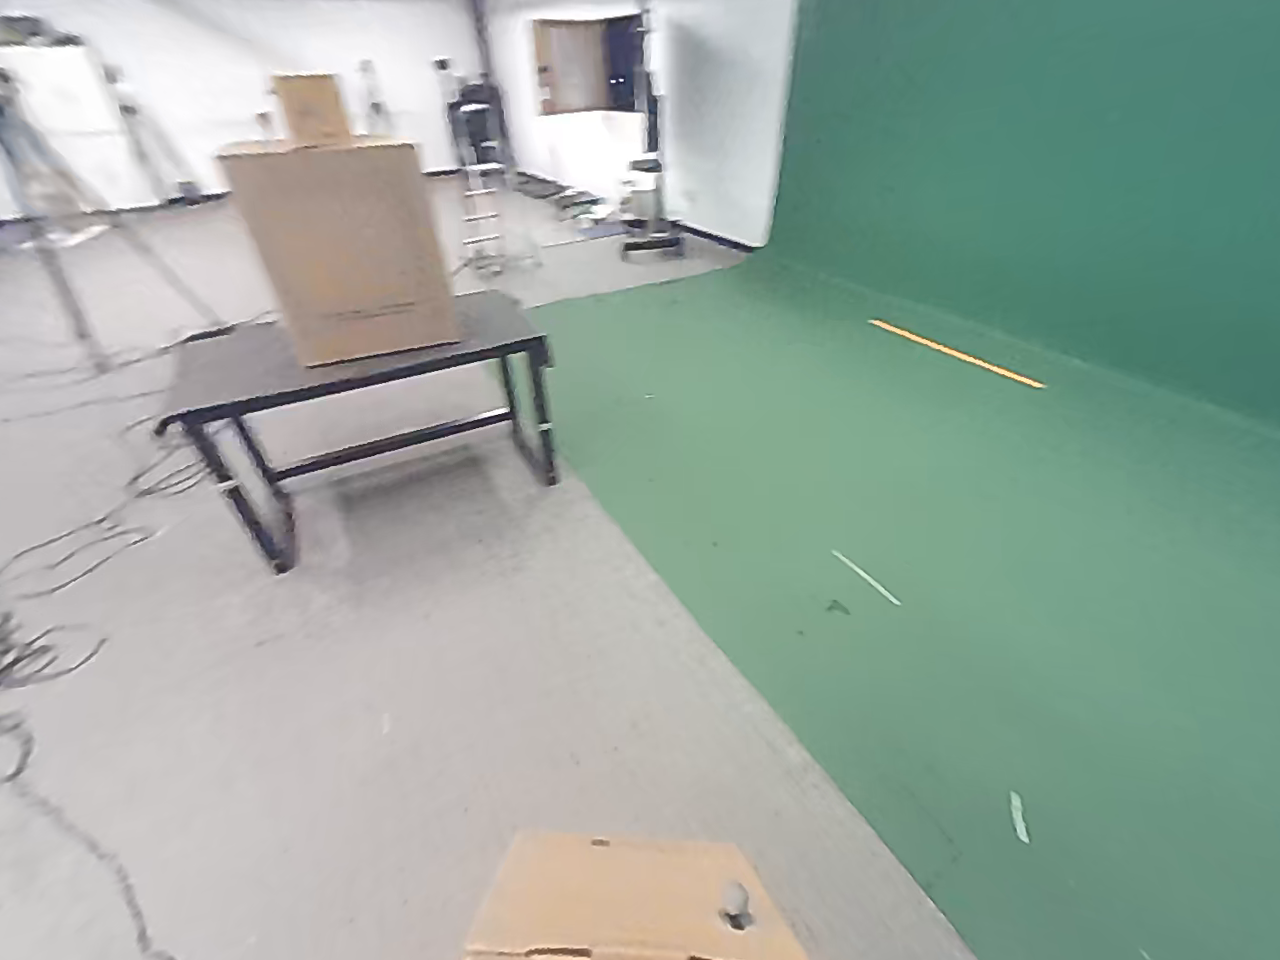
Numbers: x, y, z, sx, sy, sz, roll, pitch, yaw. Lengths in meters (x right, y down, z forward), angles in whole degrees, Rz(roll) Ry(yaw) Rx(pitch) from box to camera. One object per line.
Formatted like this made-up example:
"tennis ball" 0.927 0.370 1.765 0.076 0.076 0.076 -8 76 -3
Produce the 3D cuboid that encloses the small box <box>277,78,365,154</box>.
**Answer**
"small box" -0.916 -1.049 1.559 0.168 0.176 0.179 -22 43 -24
